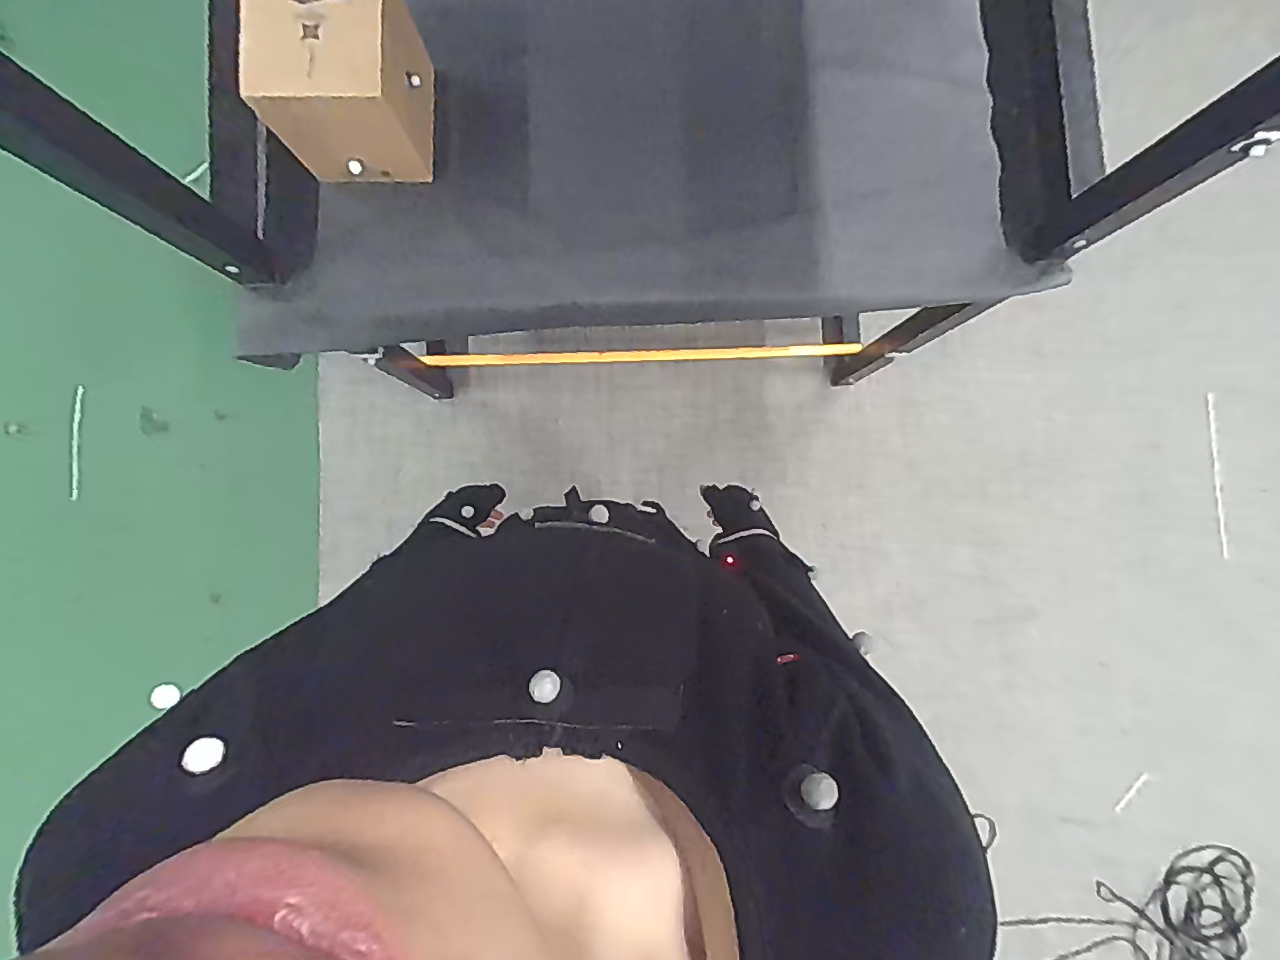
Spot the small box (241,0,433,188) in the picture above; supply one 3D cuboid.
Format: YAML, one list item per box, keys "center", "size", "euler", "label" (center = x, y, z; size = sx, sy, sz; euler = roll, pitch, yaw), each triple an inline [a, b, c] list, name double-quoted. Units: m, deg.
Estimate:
- center: [-0.384, -0.519, 0.713]
  size: [0.168, 0.176, 0.179]
  euler: [-1, 87, -2]
  label: "small box"
